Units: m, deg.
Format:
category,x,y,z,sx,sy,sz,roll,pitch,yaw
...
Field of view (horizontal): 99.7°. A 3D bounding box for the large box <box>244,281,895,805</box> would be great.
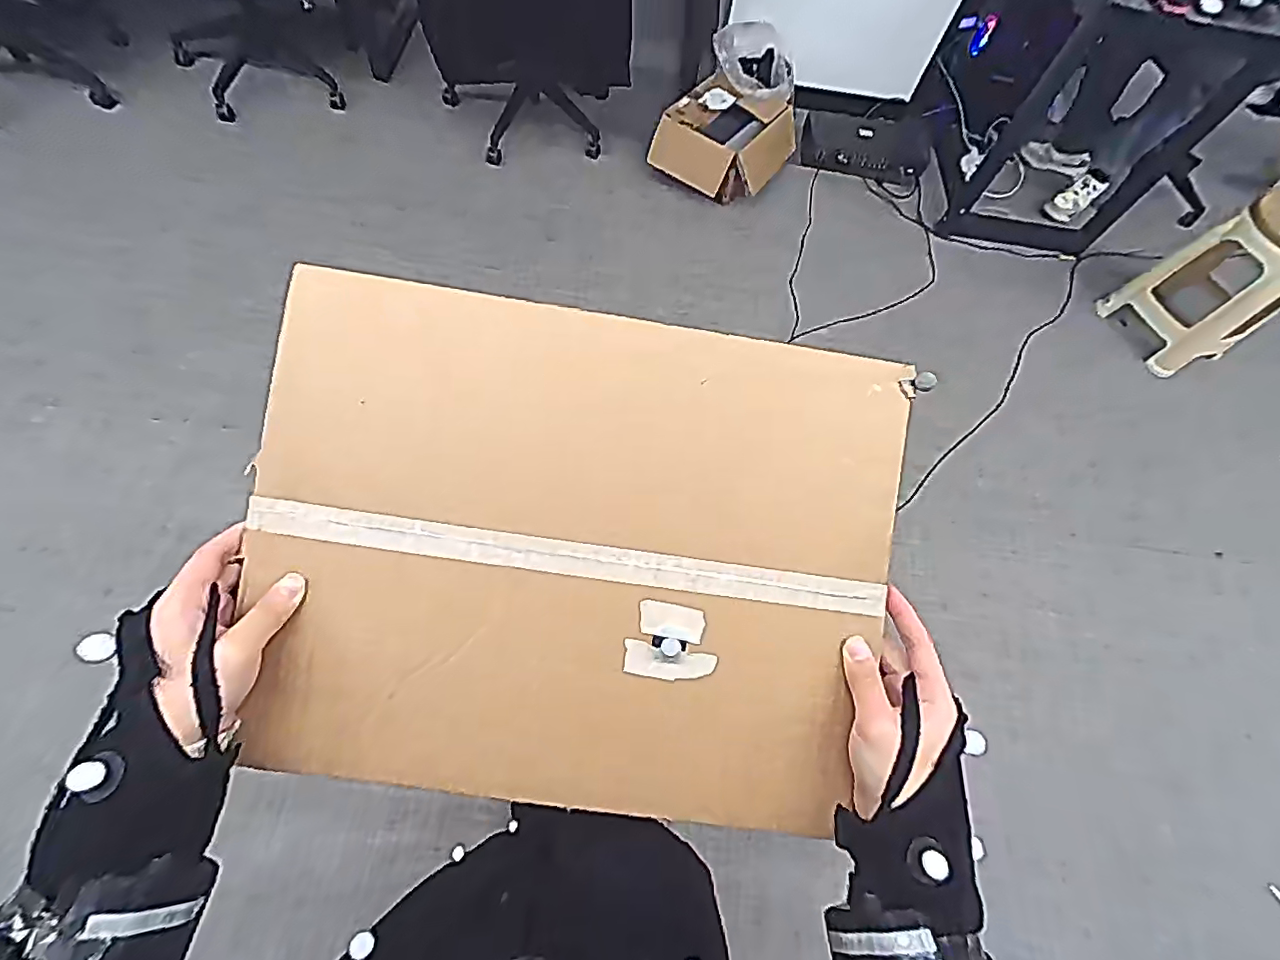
category,x,y,z,sx,sy,sz,roll,pitch,yaw
large box,-0.047,0.048,0.507,0.408,0.320,0.320,8,89,-3
